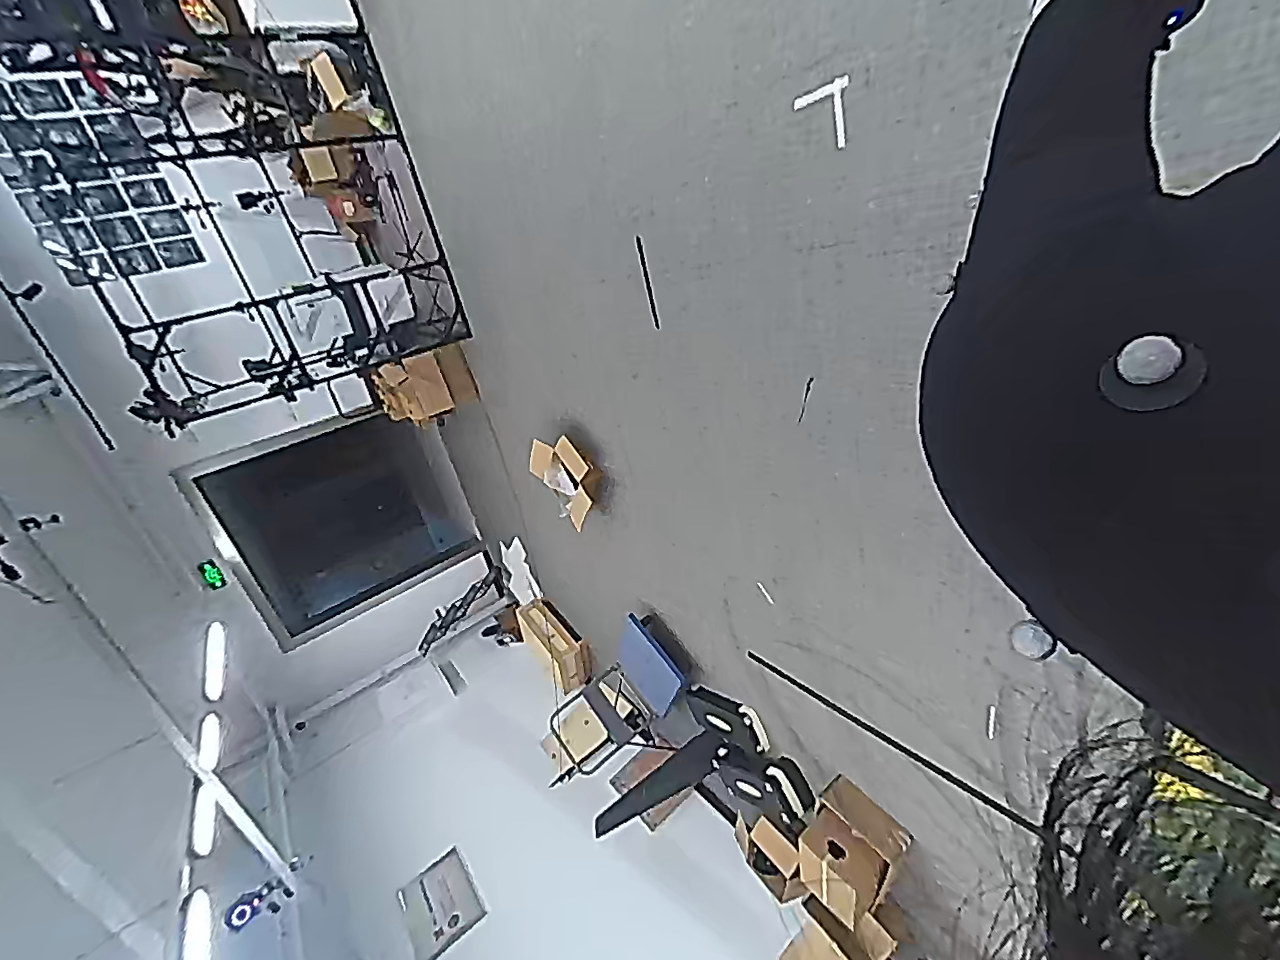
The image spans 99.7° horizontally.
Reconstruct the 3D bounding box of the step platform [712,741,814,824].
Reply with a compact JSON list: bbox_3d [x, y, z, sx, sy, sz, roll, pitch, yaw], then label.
[{"bbox_3d":[0.725,1.838,3.311,0.286,0.204,0.684,62,150,1],"label":"step platform"}]
